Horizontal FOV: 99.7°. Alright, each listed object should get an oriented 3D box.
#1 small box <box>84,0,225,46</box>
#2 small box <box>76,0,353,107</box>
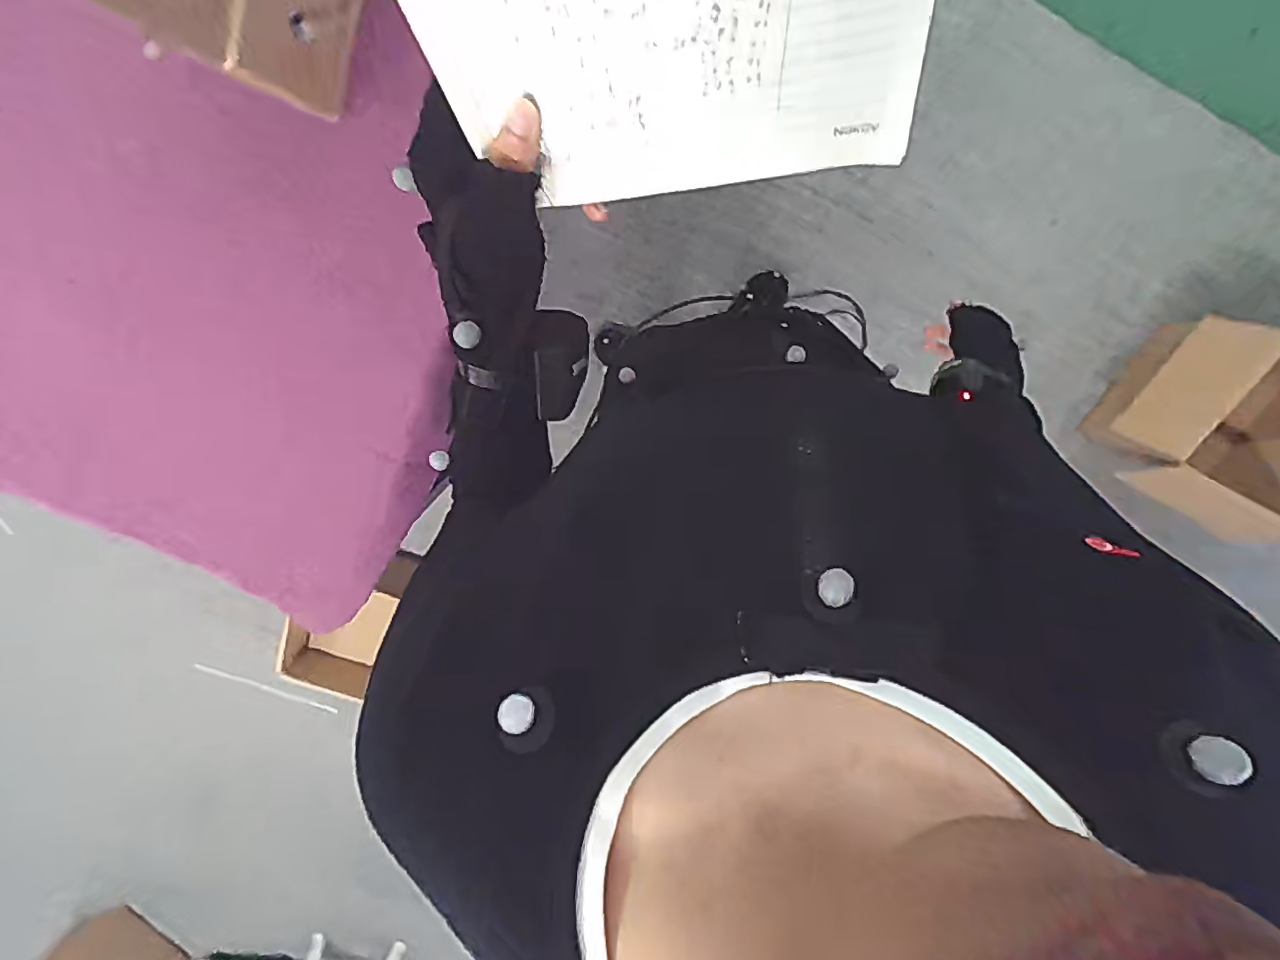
[{"bbox_3d":[-0.390,-0.416,0.328,0.179,0.176,0.168,25,109,-8],"label":"small box"},{"bbox_3d":[-0.383,-0.470,0.485,0.179,0.176,0.168,22,110,-7],"label":"small box"}]
